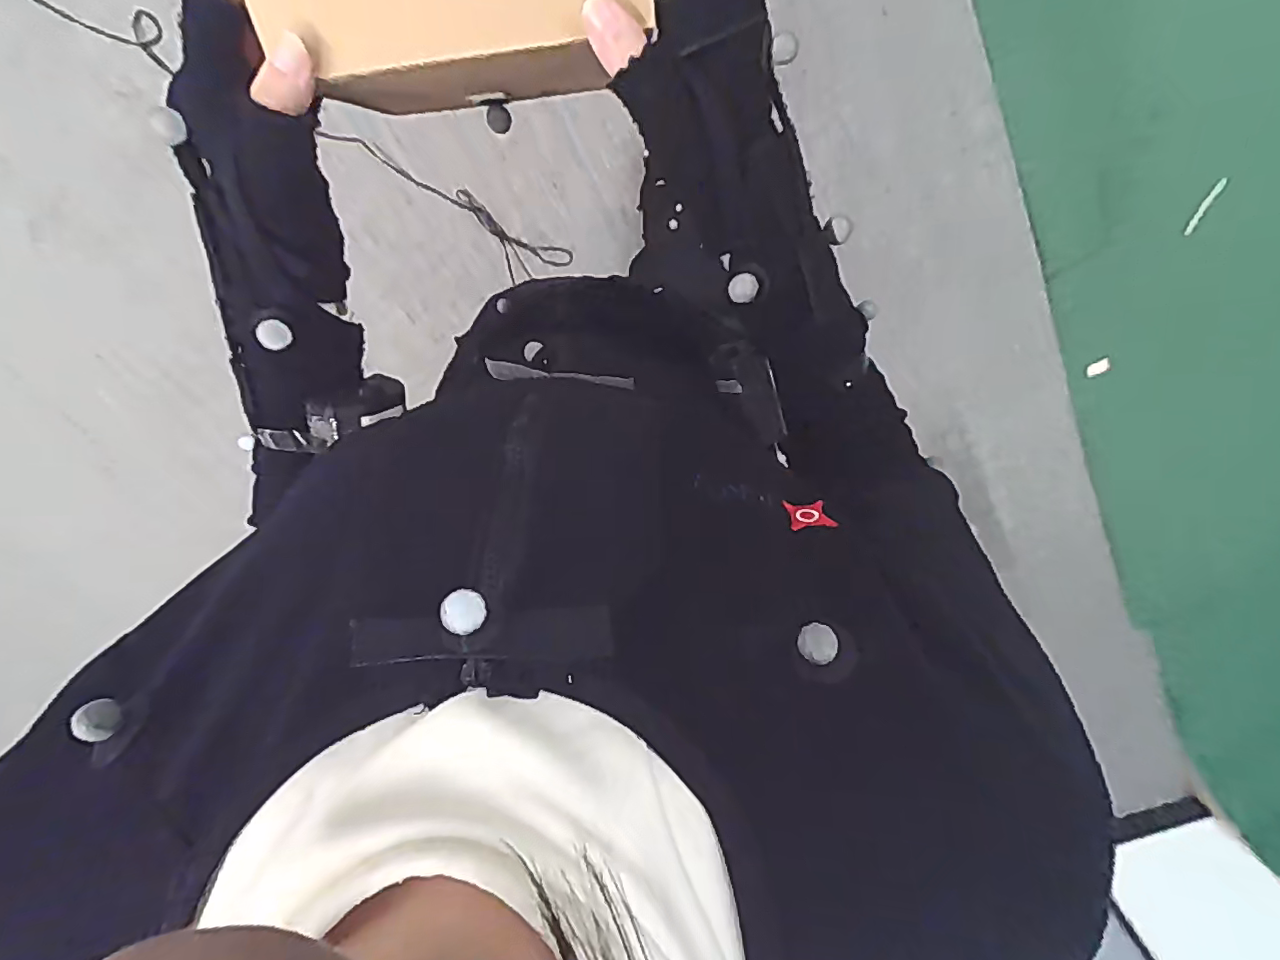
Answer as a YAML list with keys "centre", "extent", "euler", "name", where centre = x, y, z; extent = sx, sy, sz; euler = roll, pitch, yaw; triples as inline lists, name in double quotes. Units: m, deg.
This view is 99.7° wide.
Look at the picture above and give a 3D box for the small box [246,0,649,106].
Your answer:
- centre: [-0.090, -0.301, 0.256]
  extent: [0.168, 0.176, 0.179]
  euler: [-7, 120, 1]
  name: "small box"
